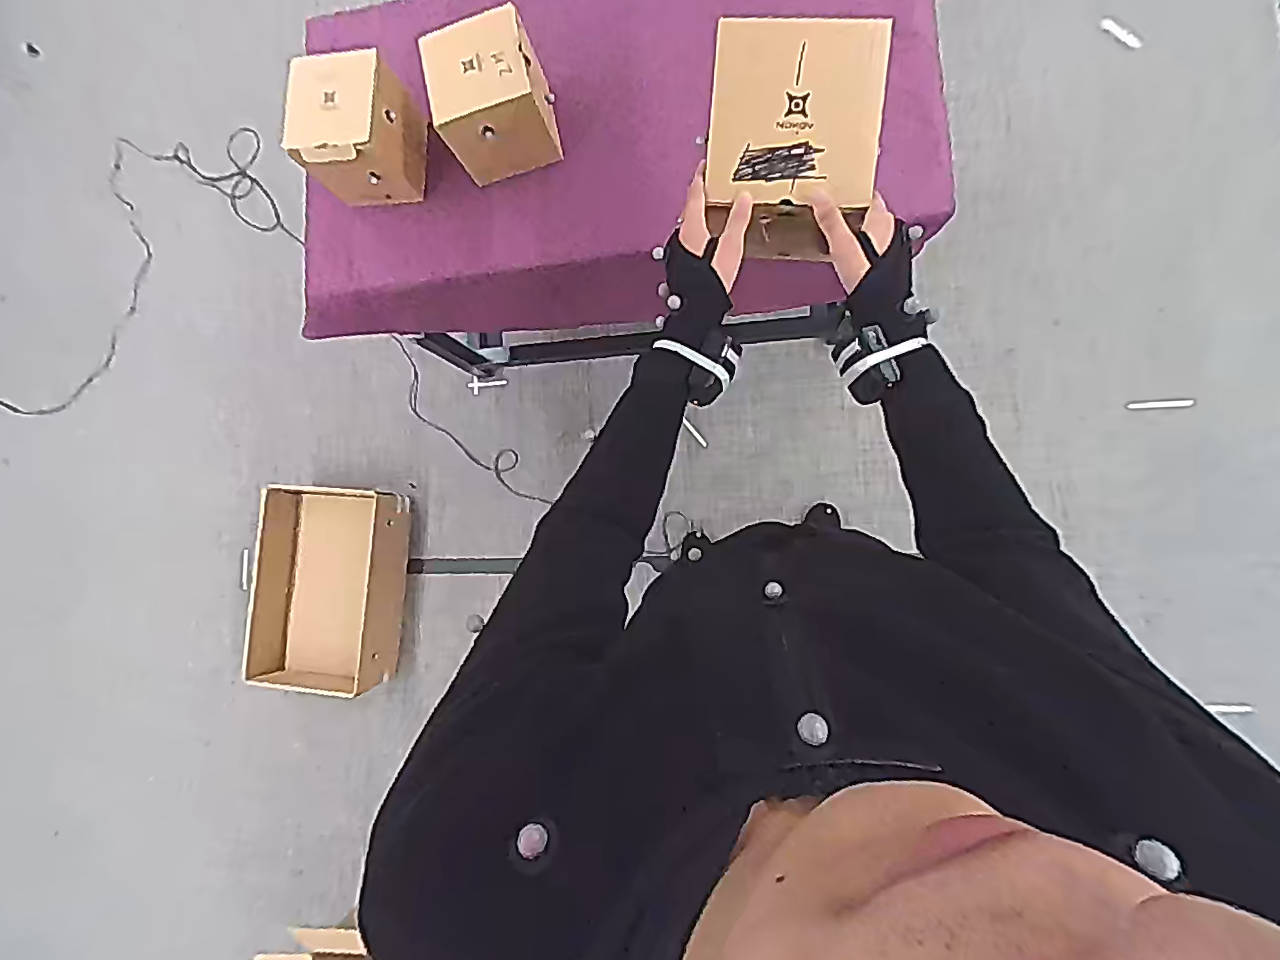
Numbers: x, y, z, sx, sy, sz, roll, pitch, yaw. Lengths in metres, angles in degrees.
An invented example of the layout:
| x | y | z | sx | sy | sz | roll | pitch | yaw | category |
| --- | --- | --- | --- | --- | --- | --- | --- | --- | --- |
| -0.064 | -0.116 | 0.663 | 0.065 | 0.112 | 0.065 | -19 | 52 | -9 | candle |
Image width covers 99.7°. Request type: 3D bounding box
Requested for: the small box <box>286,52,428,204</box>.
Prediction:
| x | y | z | sx | sy | sz | roll | pitch | yaw | category |
| --- | --- | --- | --- | --- | --- | --- | --- | --- | --- |
| -0.515 | -0.636 | 1.002 | 0.168 | 0.176 | 0.179 | 1 | 85 | 9 | small box |

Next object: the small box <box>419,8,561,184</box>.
| x | y | z | sx | sy | sz | roll | pitch | yaw | category |
| --- | --- | --- | --- | --- | --- | --- | --- | --- | --- |
| -0.258 | -0.666 | 0.961 | 0.179 | 0.176 | 0.168 | -13 | 84 | 8 | small box |

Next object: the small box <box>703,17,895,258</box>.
| x | y | z | sx | sy | sz | roll | pitch | yaw | category |
| --- | --- | --- | --- | --- | --- | --- | --- | --- | --- |
| 0.161 | -0.361 | 0.603 | 0.168 | 0.176 | 0.179 | 5 | 95 | 5 | small box |
